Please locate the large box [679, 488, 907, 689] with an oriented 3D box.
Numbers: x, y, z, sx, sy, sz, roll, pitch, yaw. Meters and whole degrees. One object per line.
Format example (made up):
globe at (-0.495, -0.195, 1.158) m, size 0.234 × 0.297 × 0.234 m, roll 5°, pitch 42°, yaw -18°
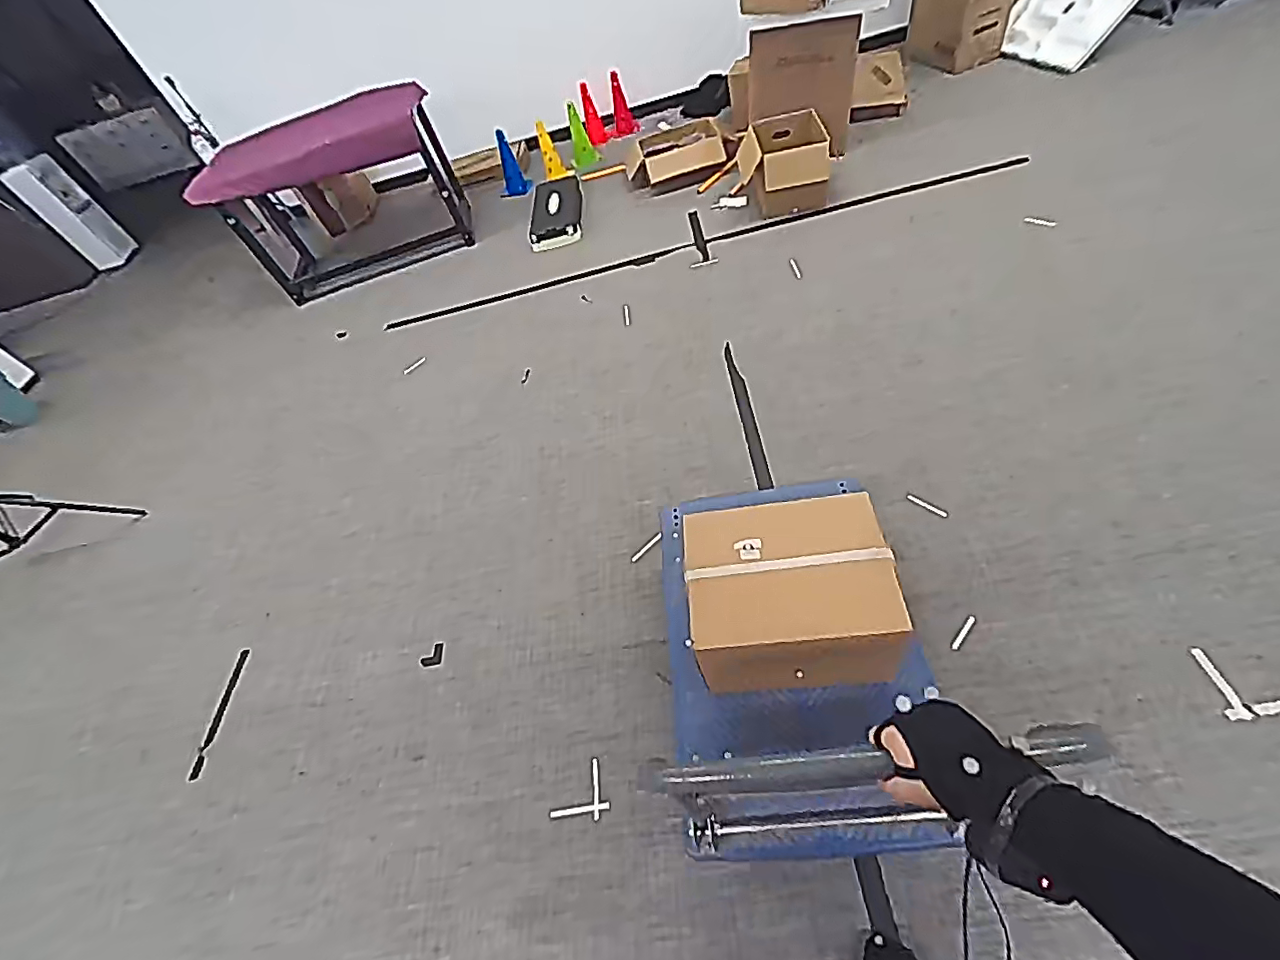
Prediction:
large box at (0.321, 0.255, 1.208) m, size 0.408 × 0.320 × 0.320 m, roll -9°, pitch 51°, yaw 10°
